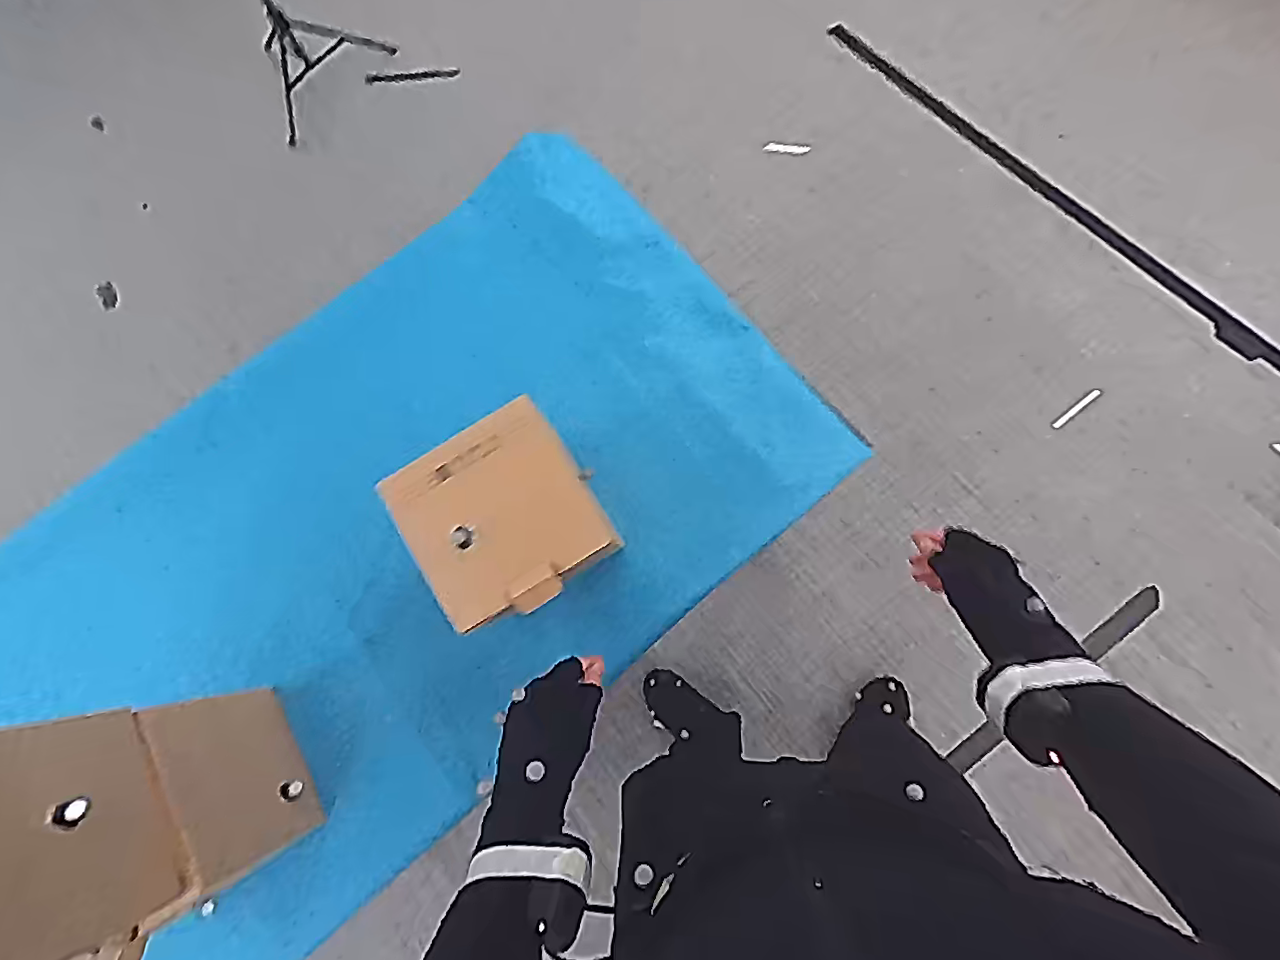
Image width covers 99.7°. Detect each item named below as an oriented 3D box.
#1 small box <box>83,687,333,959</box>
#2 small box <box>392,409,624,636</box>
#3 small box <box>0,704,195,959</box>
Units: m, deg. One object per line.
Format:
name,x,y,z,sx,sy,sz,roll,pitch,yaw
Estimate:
small box,-0.474,0.348,0.562,0.168,0.176,0.179,-34,76,-4
small box,-0.133,0.043,0.591,0.168,0.179,0.176,-31,83,-3
small box,-0.503,0.304,0.405,0.168,0.176,0.179,-31,77,-3
